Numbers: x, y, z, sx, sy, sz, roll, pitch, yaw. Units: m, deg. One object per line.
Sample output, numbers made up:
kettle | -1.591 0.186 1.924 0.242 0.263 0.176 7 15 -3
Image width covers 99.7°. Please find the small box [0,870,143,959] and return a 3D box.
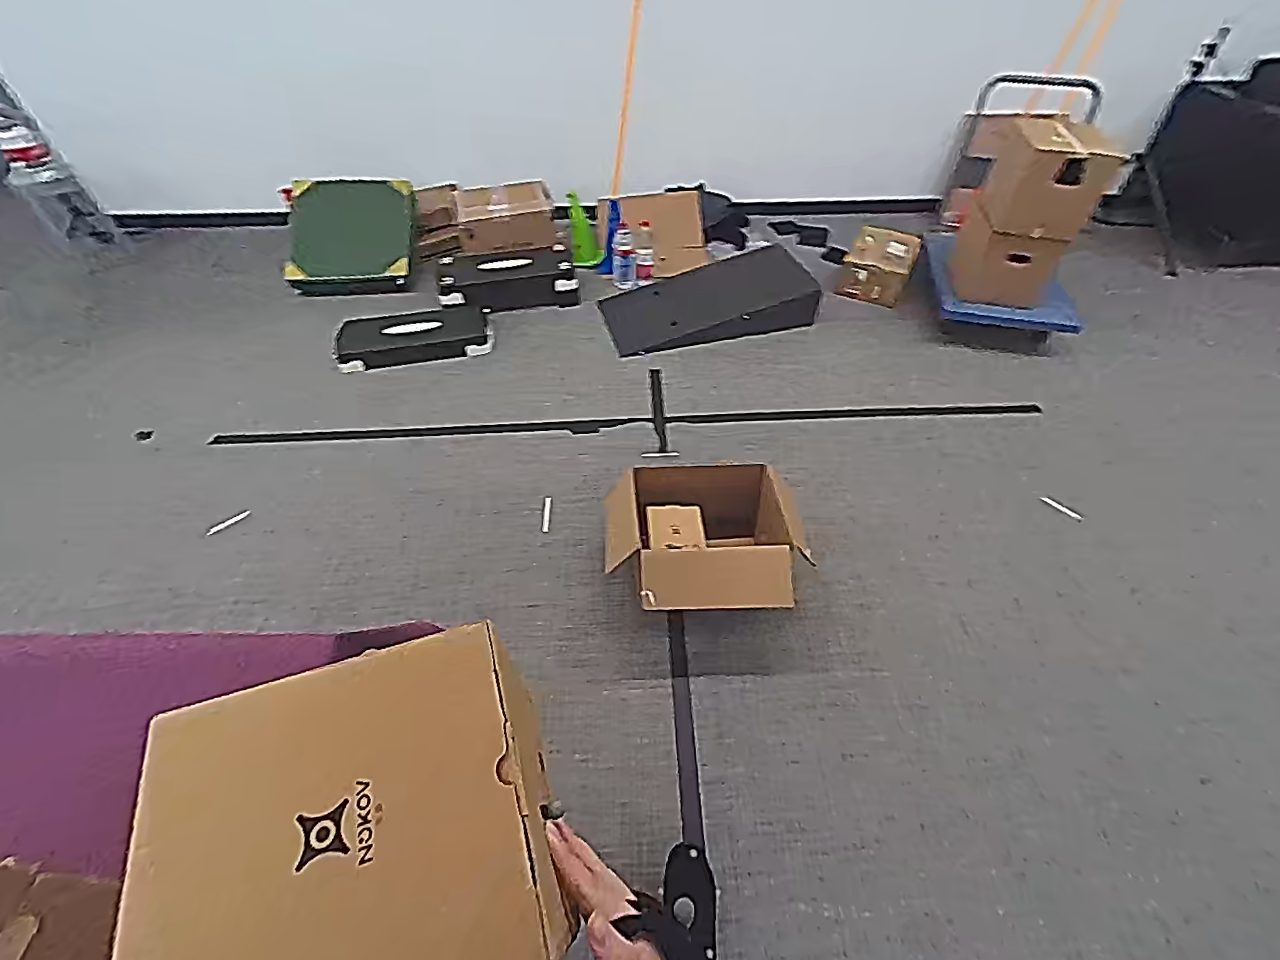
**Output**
small box | -0.623 0.462 0.495 0.179 0.176 0.168 0 49 2

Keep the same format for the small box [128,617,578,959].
small box | -0.143 0.209 0.323 0.179 0.176 0.168 -13 56 -12
